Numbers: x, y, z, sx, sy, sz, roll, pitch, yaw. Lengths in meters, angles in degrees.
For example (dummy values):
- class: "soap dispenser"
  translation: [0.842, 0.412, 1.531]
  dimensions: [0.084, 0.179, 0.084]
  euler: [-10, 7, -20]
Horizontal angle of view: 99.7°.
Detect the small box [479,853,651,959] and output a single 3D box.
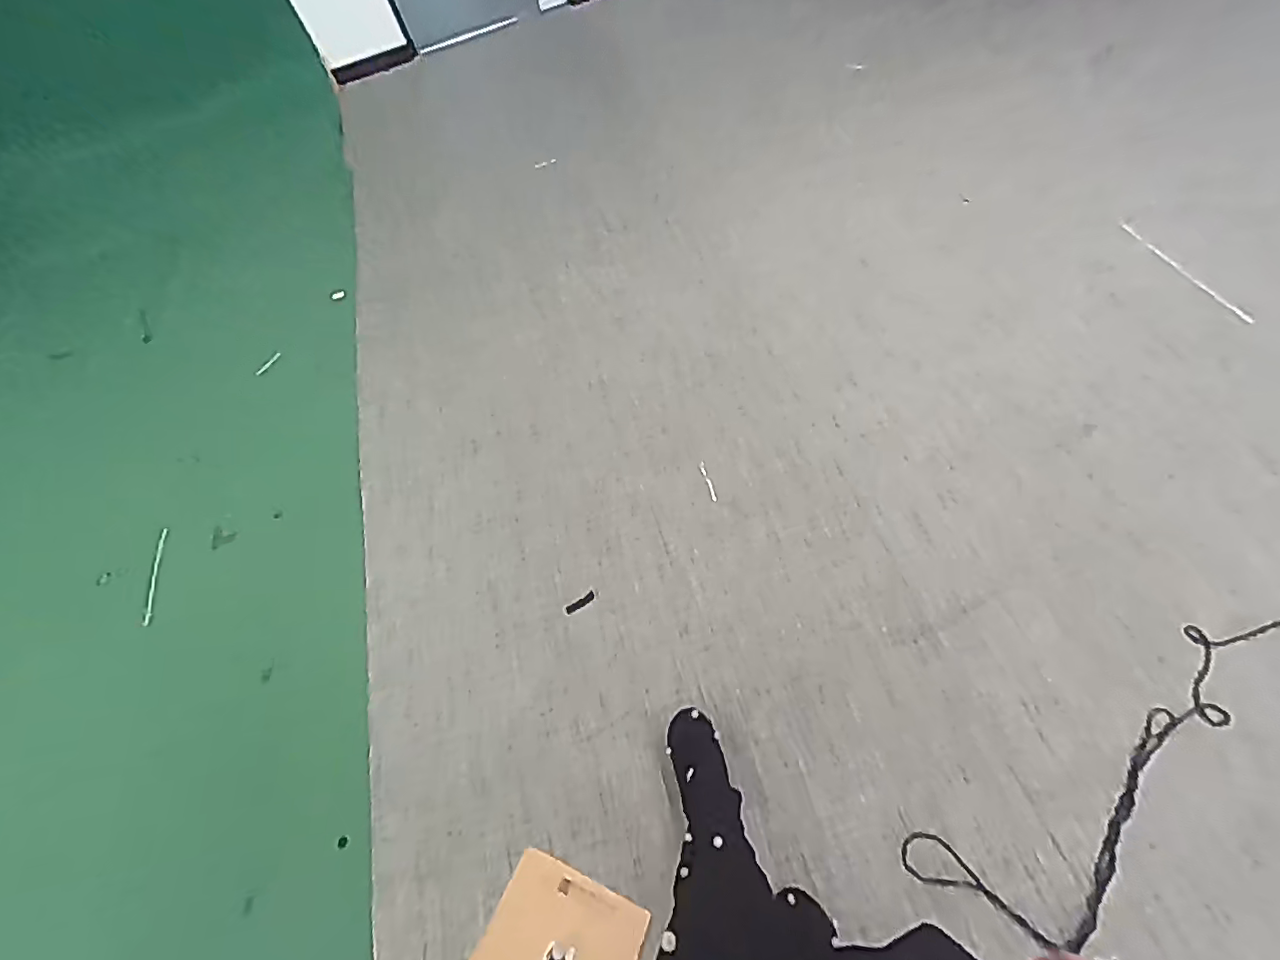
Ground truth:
- class: "small box"
  translation: [-0.099, 0.577, 0.623]
  dimensions: [0.168, 0.179, 0.176]
  euler: [22, 36, 12]
